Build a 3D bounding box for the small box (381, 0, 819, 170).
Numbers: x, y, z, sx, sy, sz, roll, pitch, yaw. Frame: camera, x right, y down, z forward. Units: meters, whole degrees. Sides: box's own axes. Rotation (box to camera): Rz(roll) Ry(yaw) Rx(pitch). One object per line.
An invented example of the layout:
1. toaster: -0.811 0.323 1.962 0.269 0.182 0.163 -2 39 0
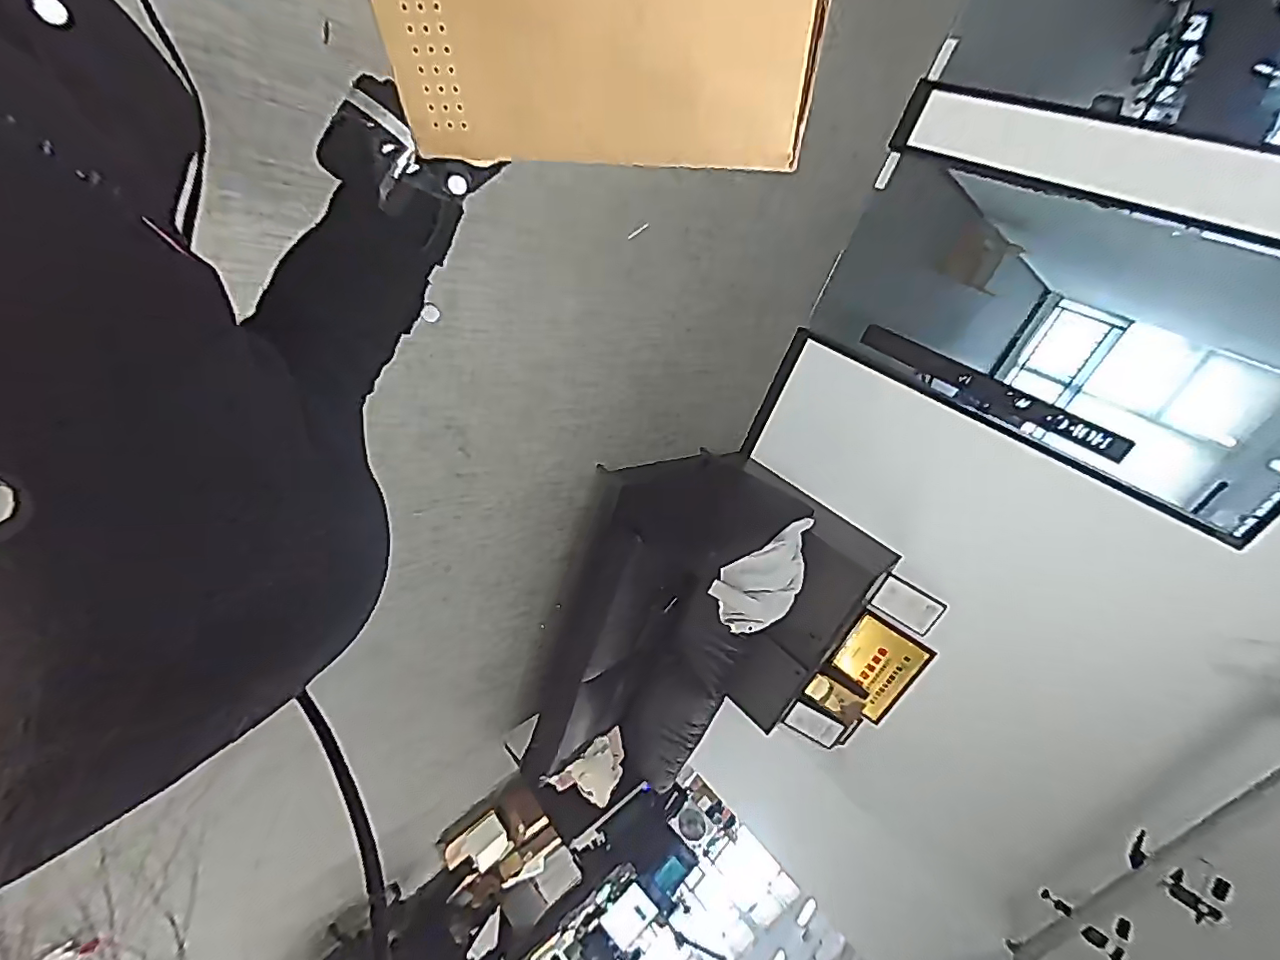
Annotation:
1. small box: -0.010 -0.253 0.227 0.179 0.176 0.168 86 15 -50
